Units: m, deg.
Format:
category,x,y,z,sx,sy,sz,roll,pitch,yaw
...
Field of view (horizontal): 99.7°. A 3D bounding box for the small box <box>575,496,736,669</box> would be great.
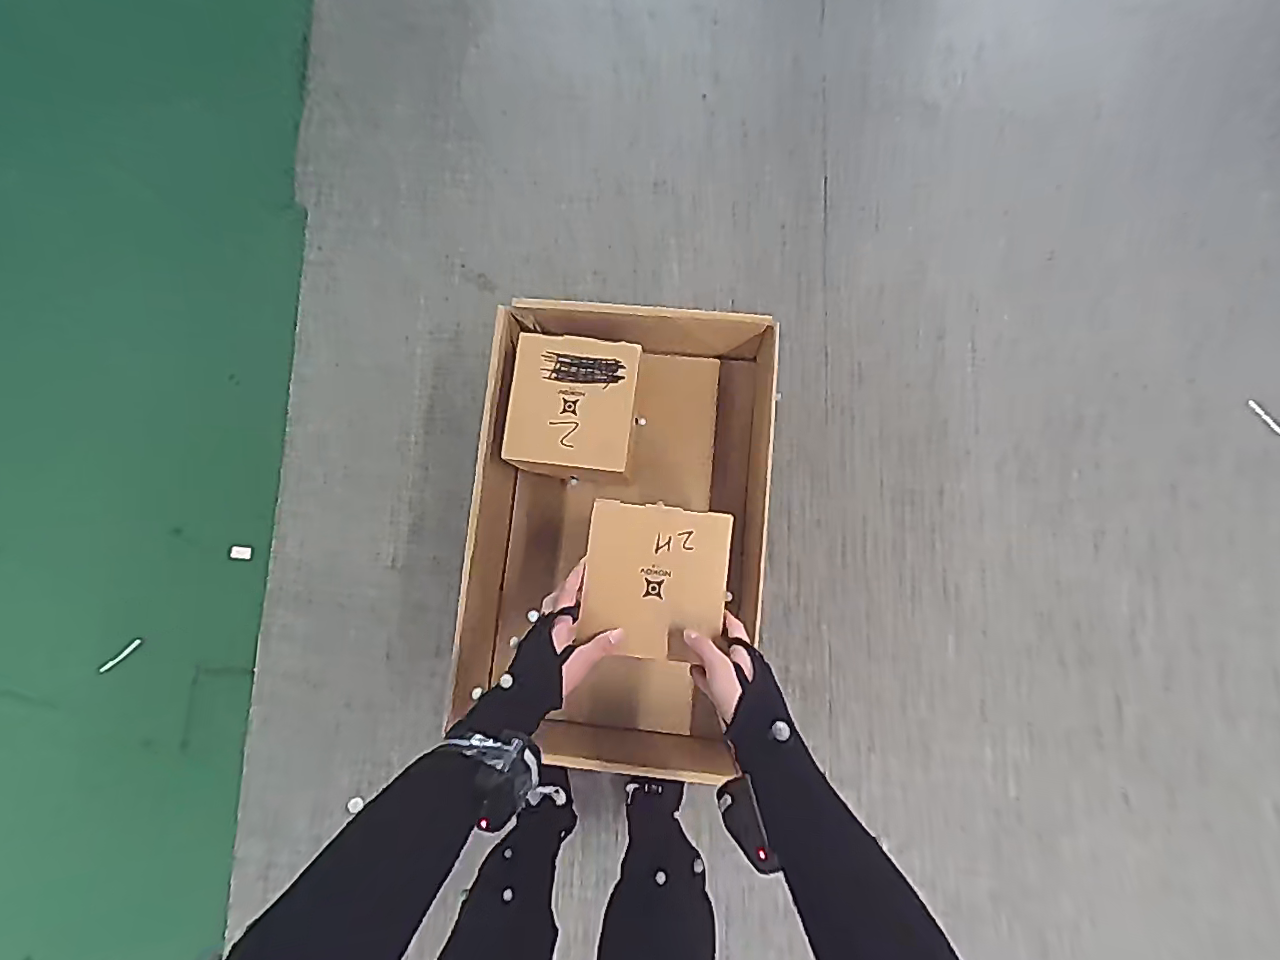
category,x,y,z,sx,sy,sz,roll,pitch,yaw
small box,0.017,0.125,0.693,0.168,0.176,0.179,8,82,-1
